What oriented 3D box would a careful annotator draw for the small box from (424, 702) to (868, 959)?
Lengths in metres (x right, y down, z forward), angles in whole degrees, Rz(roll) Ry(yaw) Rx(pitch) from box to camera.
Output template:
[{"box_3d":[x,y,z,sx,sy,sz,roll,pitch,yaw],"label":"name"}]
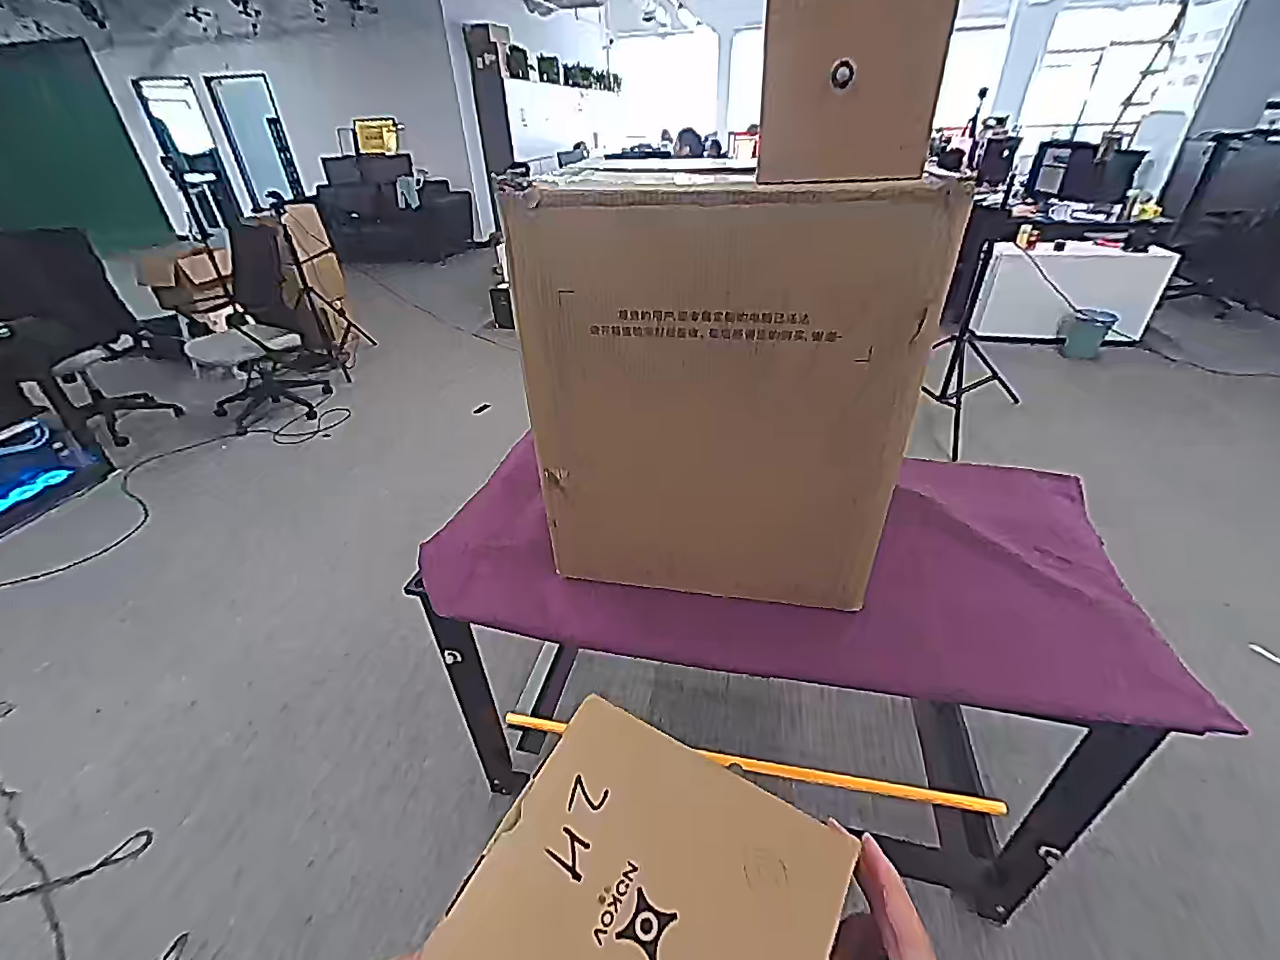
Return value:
[{"box_3d":[0.013,0.276,0.324,0.179,0.176,0.168,19,51,28],"label":"small box"}]
